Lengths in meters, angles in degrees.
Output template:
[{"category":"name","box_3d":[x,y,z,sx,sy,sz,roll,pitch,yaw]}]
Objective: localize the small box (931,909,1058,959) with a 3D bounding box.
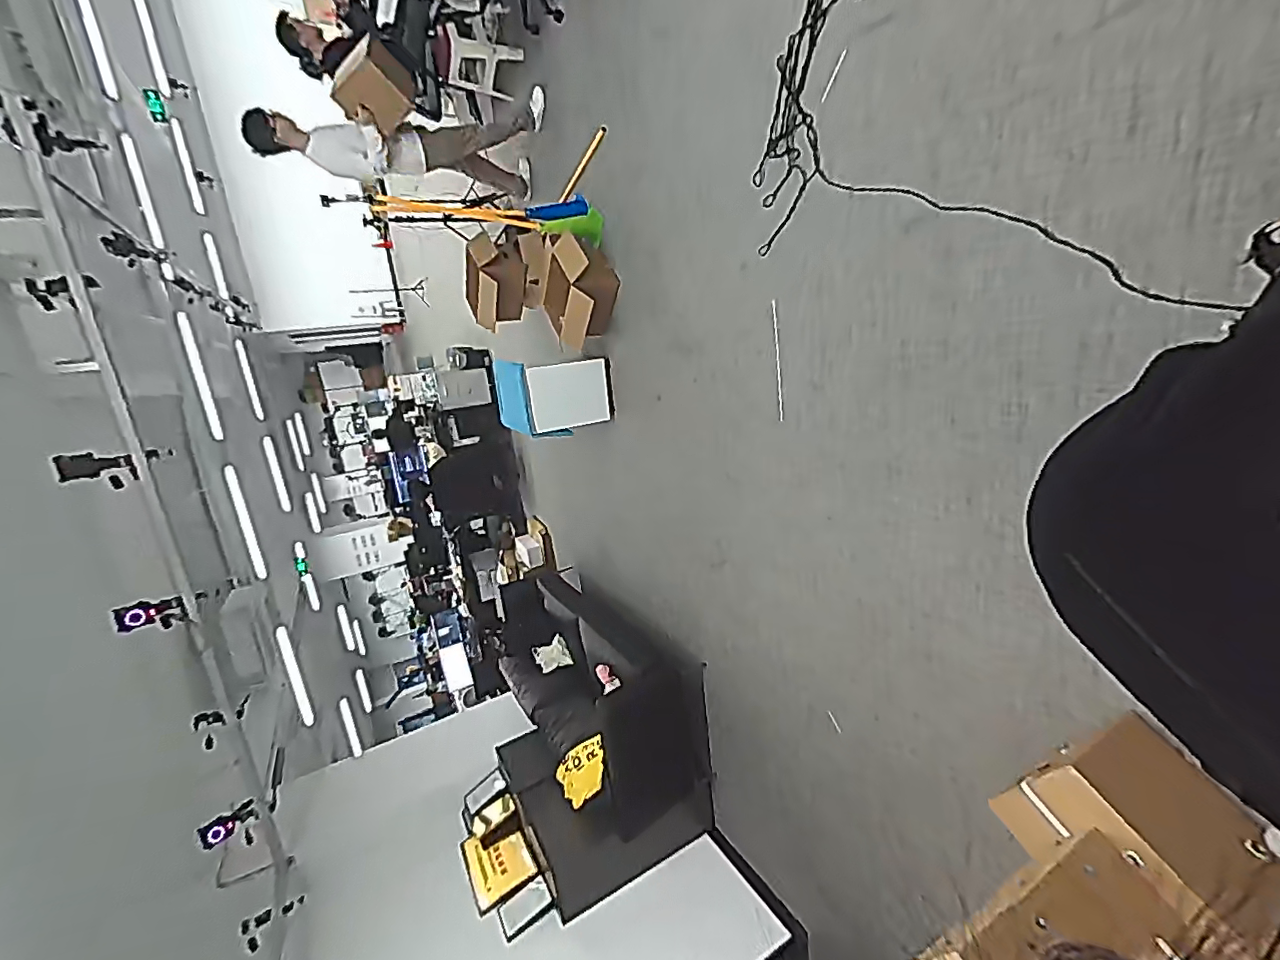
[{"category":"small box","box_3d":[0.687,0.950,1.015,0.168,0.176,0.179,56,147,39]}]

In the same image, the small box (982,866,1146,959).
[{"category":"small box","box_3d":[0.838,0.922,1.077,0.179,0.176,0.168,56,148,38]}]
